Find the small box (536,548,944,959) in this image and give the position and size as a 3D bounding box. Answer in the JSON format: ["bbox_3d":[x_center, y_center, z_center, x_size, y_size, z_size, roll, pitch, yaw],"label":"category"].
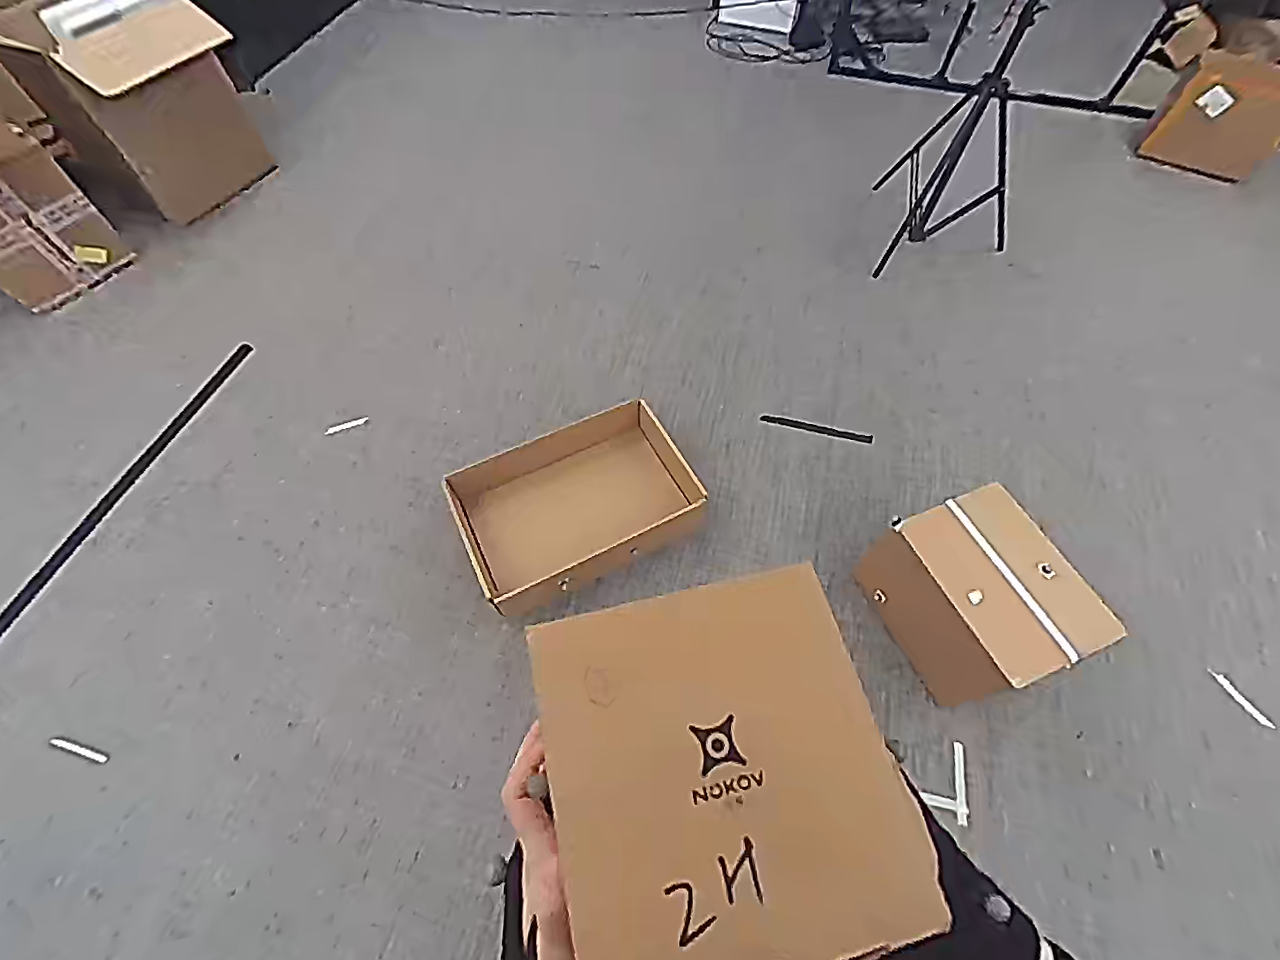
[{"bbox_3d":[0.036,0.164,0.339,0.168,0.176,0.179,-12,66,-8],"label":"small box"}]
